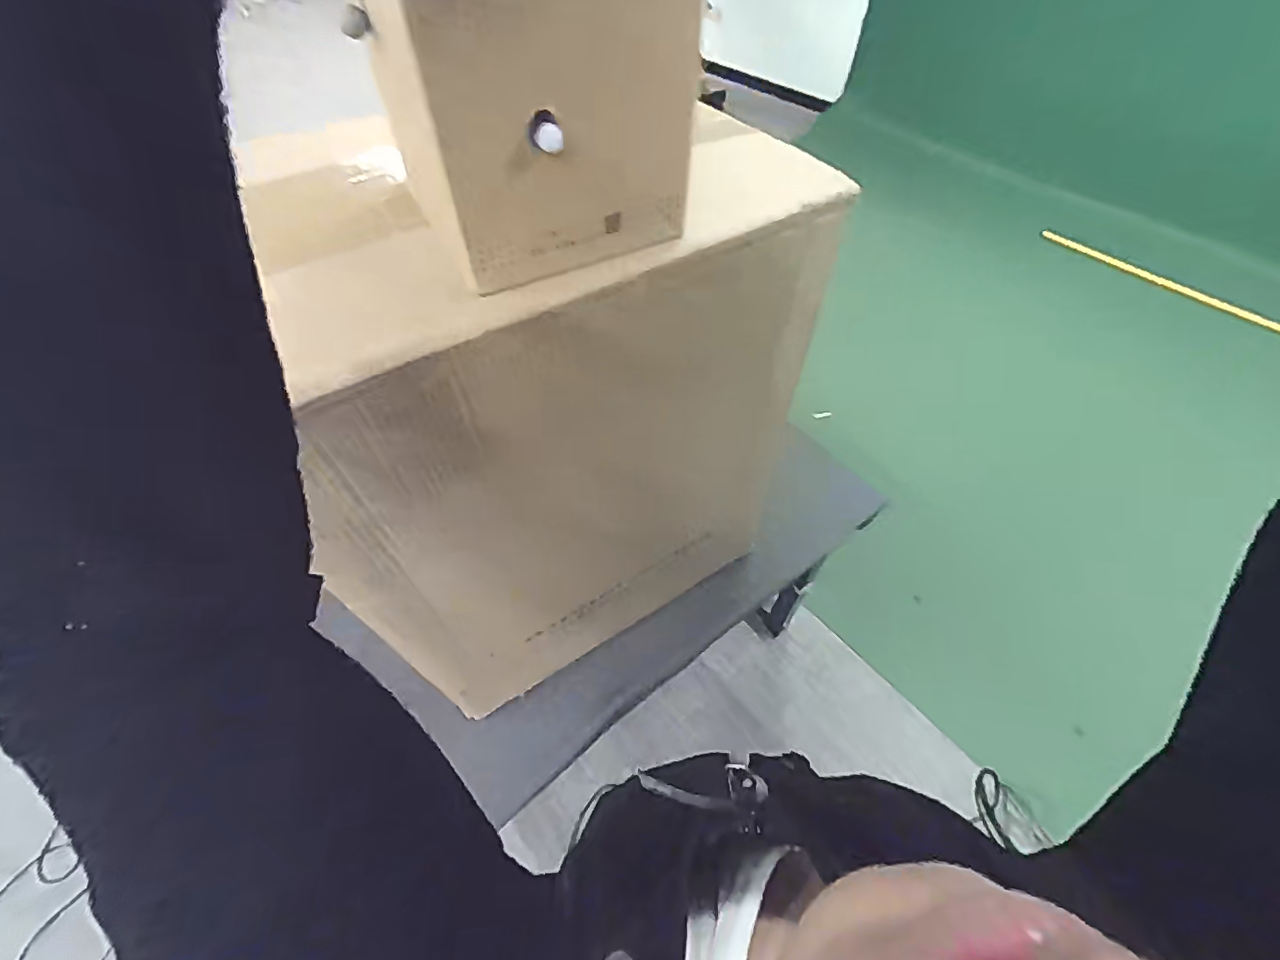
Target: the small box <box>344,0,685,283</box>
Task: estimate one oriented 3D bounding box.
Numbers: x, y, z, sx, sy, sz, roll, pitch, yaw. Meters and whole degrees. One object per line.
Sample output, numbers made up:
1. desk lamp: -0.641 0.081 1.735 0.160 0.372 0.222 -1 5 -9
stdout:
1. small box: -0.080 -0.257 0.367 0.168 0.176 0.179 -24 58 -17
